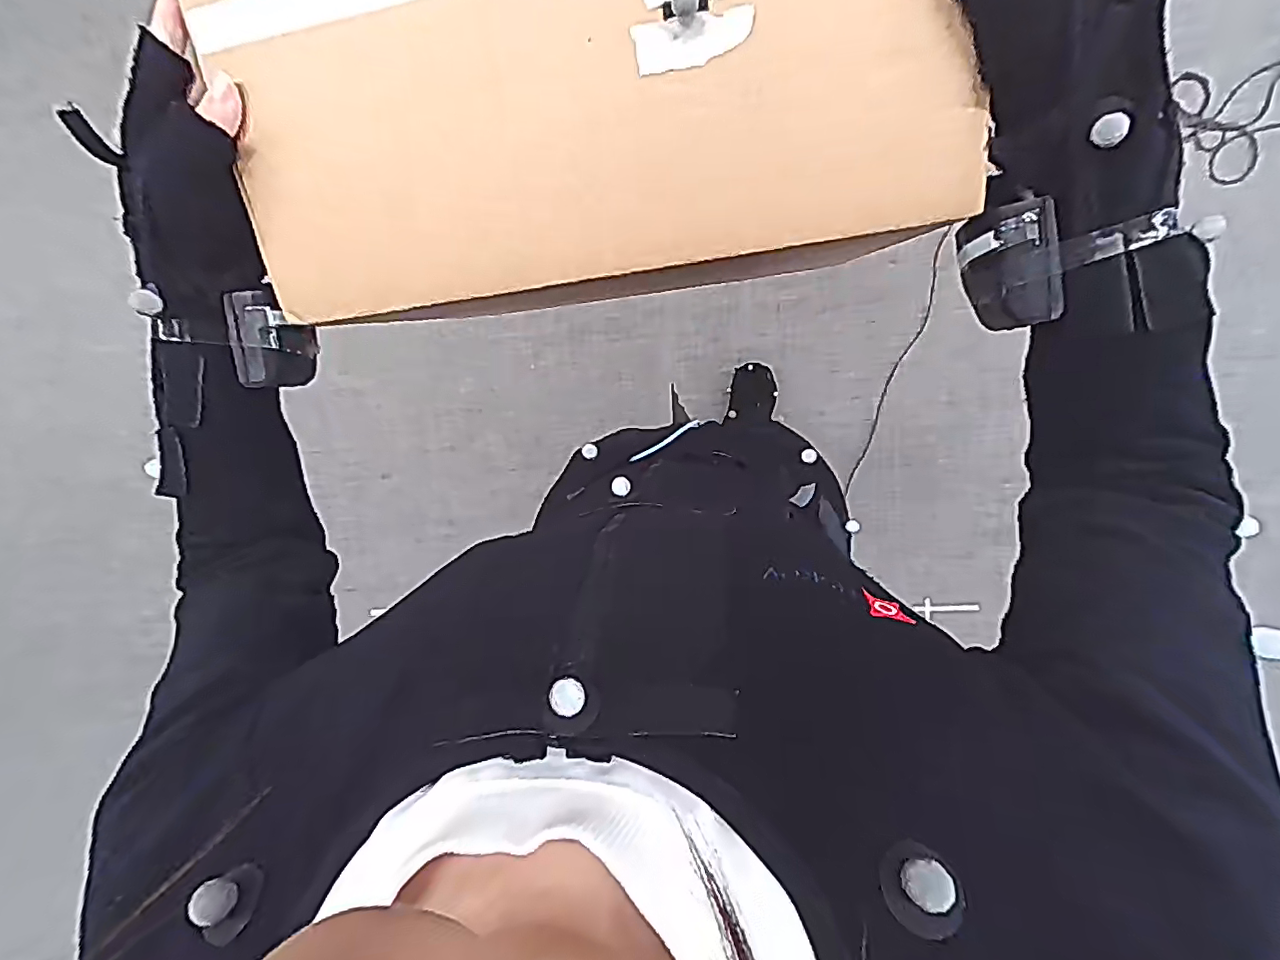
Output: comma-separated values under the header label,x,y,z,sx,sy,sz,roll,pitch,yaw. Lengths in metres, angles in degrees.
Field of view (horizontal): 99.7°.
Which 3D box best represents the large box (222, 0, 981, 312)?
label,x,y,z,sx,sy,sz,roll,pitch,yaw
large box,-0.022,-0.321,0.415,0.408,0.320,0.320,-6,108,10
